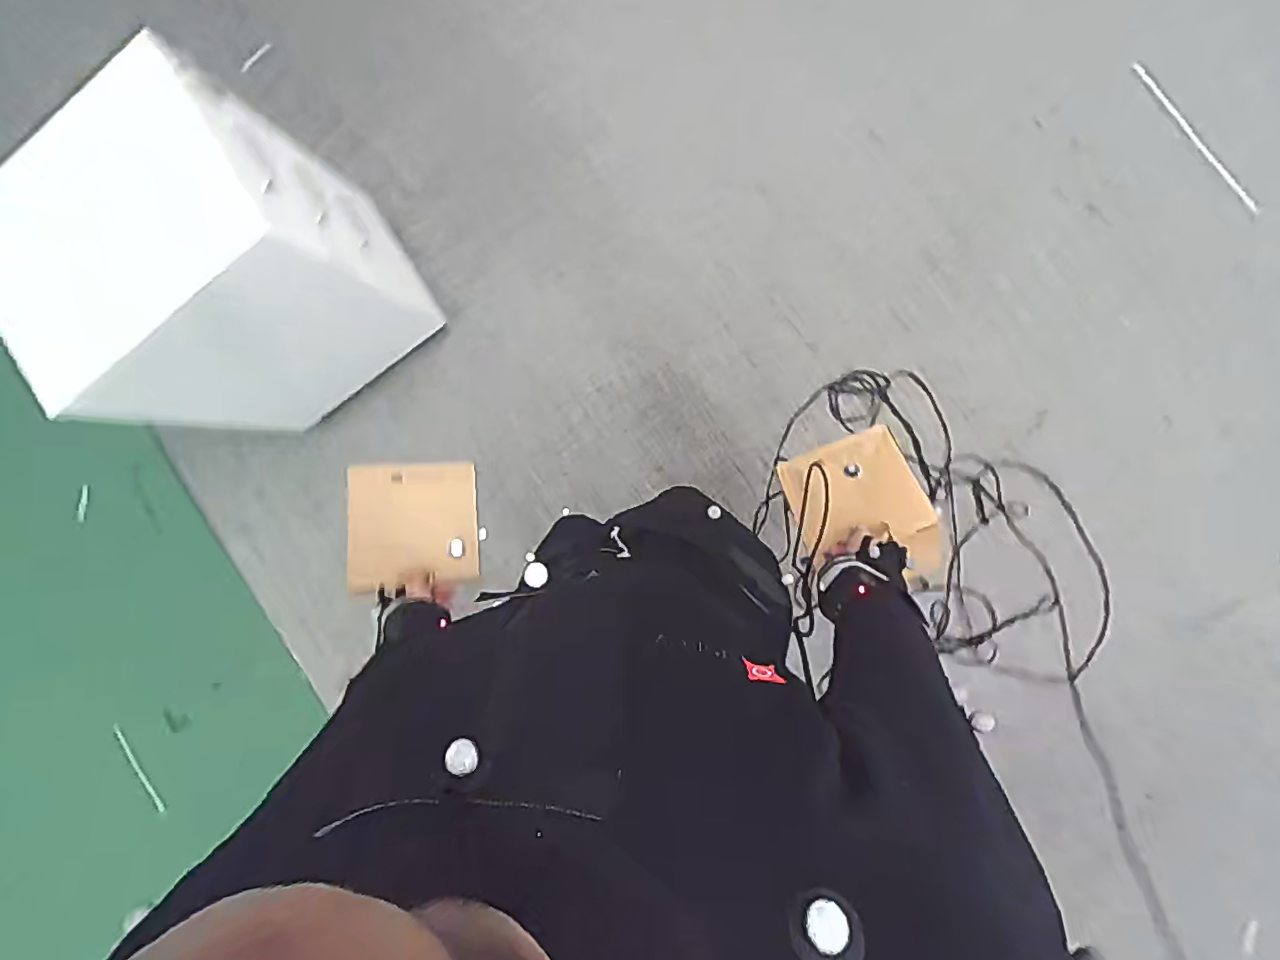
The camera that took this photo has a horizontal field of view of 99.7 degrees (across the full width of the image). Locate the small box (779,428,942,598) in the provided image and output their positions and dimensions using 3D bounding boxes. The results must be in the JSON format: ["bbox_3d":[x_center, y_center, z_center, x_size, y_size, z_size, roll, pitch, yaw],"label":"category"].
[{"bbox_3d":[0.323,0.052,0.803,0.168,0.179,0.176,-22,55,15],"label":"small box"}]
